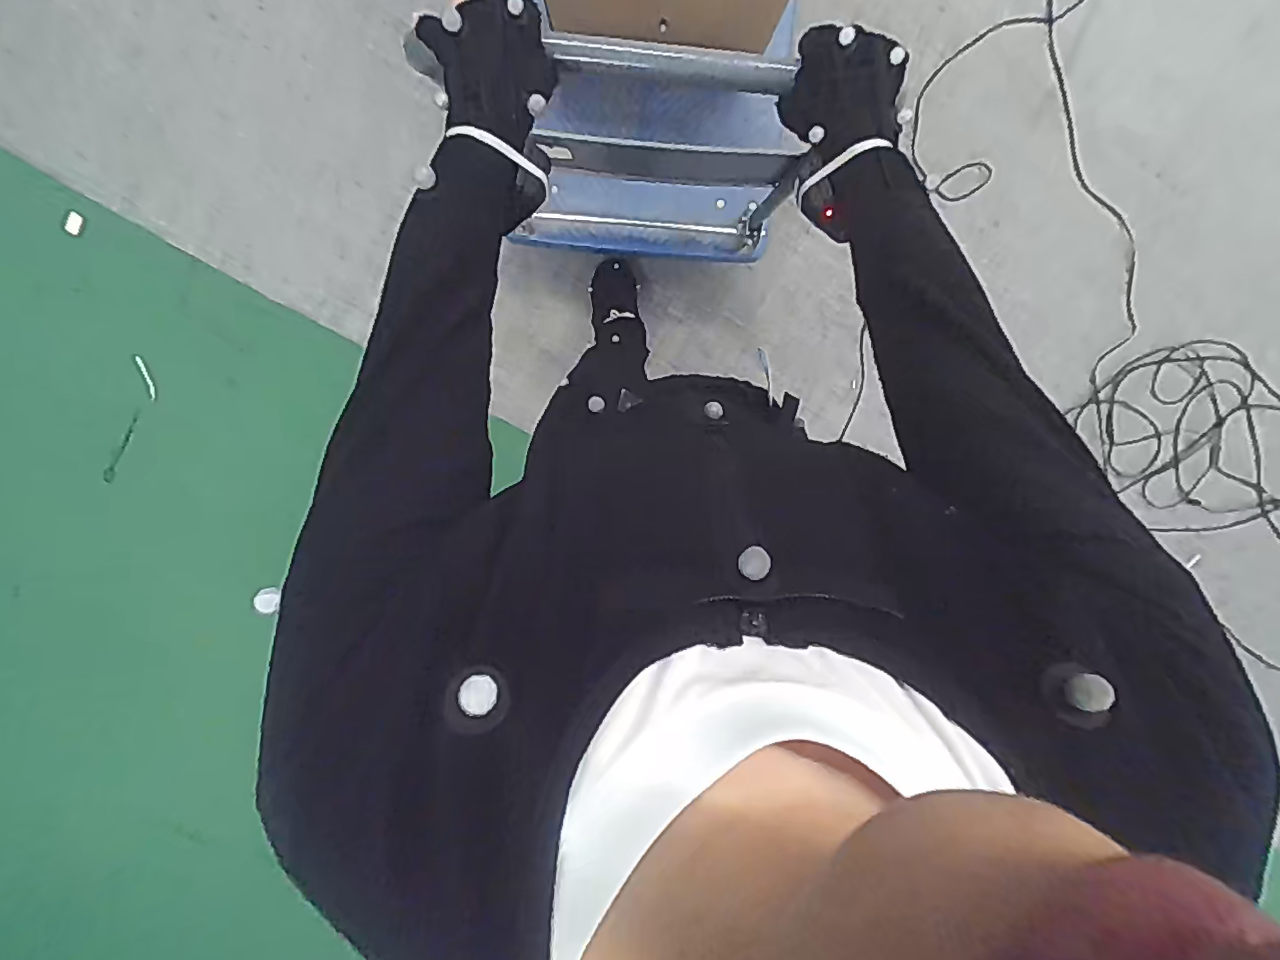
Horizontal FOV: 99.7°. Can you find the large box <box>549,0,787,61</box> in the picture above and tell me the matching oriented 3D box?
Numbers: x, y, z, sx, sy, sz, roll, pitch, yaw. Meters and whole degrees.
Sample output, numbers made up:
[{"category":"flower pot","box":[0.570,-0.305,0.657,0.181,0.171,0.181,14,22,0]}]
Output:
[{"category":"large box","box":[0.050,-0.955,0.904,0.408,0.320,0.320,2,104,-2]}]
